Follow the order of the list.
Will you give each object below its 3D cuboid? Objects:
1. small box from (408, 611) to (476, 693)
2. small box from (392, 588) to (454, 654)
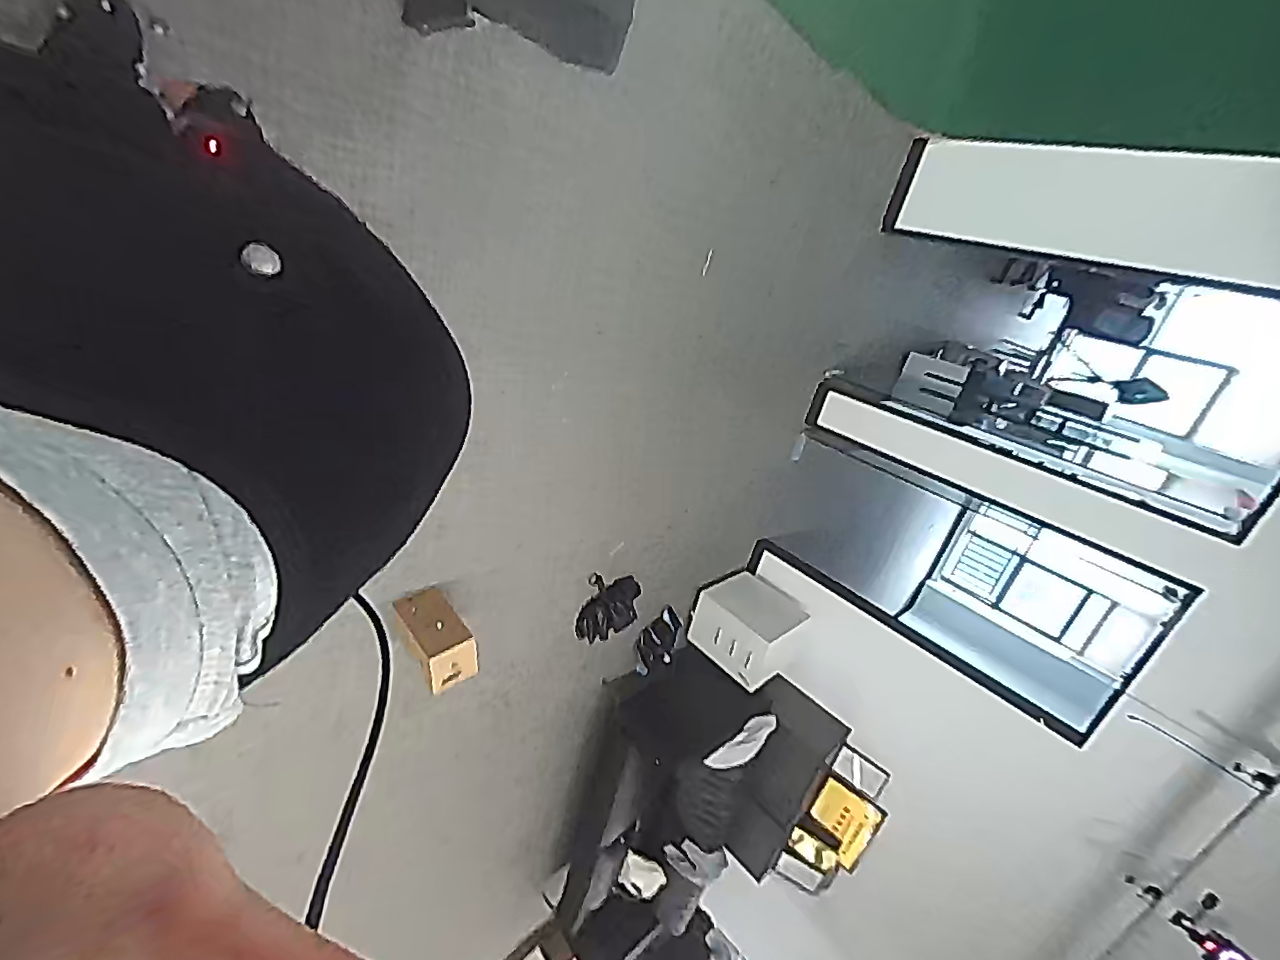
[{"bbox_3d":[-0.689,0.595,1.885,0.168,0.176,0.179,-20,129,-38],"label":"small box"},{"bbox_3d":[-0.794,0.522,1.989,0.168,0.176,0.179,-21,132,-37],"label":"small box"}]
